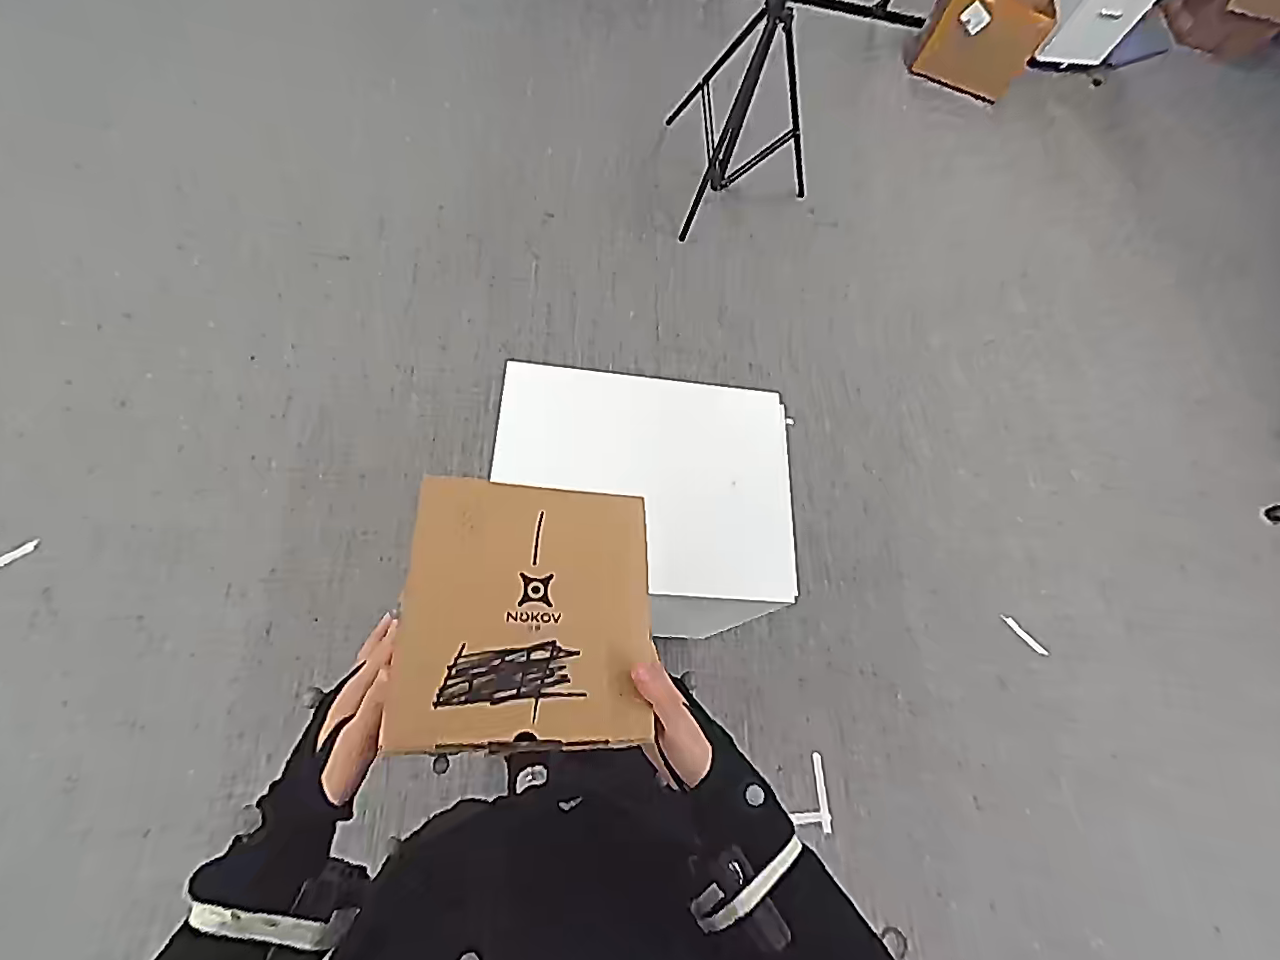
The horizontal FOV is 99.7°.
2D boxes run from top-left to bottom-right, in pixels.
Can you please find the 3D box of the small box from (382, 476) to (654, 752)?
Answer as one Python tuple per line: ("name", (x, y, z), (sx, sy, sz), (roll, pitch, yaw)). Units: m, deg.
("small box", (-0.093, 0.118, 0.430), (0.168, 0.176, 0.179), (6, 61, -16))
